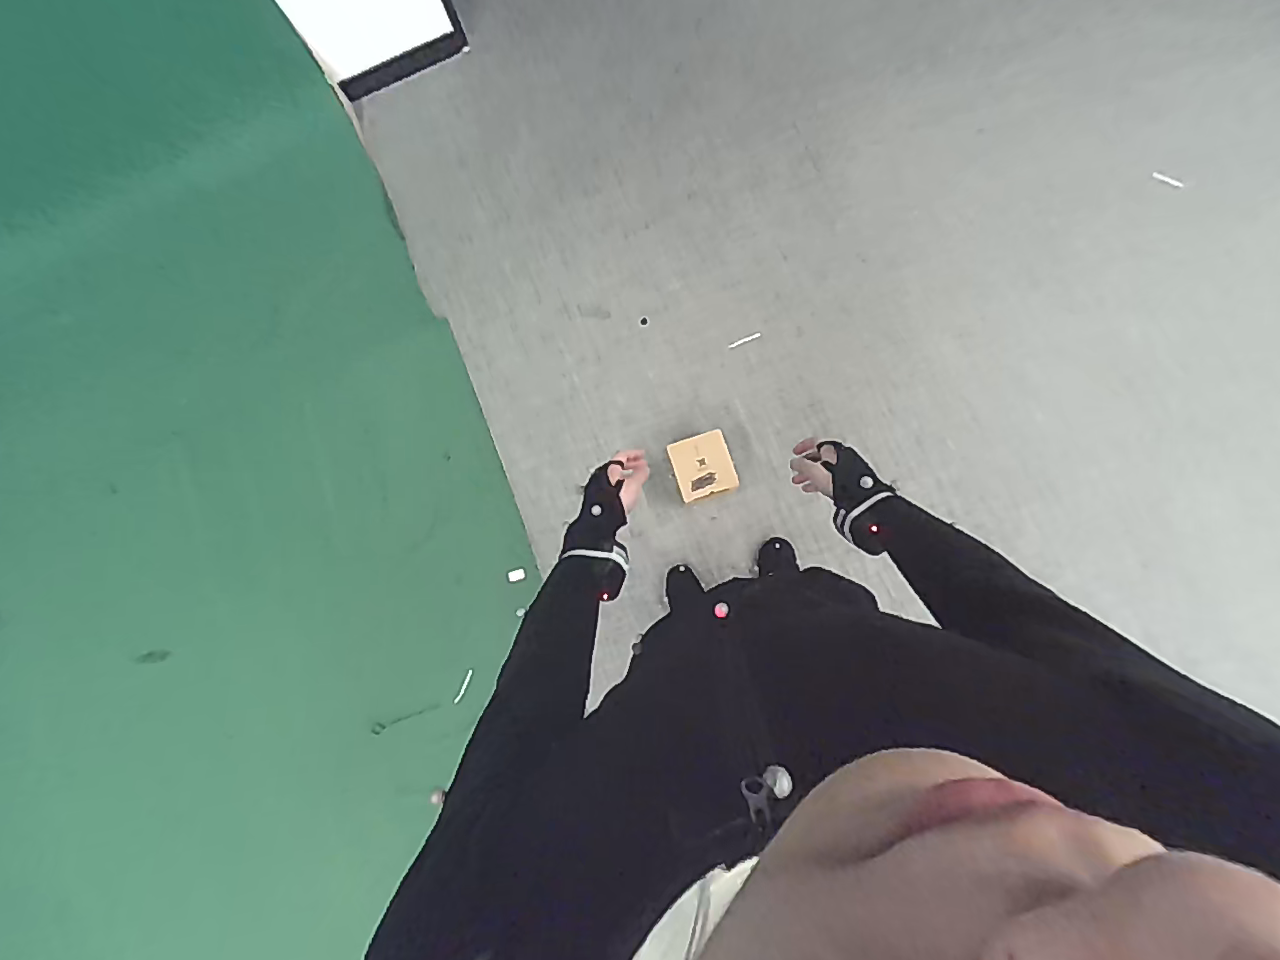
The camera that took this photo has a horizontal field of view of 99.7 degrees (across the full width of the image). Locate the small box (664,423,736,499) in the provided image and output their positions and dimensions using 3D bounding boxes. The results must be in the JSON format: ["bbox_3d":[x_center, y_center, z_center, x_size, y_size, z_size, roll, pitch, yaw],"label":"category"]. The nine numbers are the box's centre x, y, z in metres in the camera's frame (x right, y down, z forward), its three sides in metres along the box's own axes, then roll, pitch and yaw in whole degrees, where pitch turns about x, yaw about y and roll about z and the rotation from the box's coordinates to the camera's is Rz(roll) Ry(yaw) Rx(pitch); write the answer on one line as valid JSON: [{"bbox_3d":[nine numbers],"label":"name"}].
[{"bbox_3d":[0.176,-0.049,1.596,0.168,0.176,0.179,-18,81,1],"label":"small box"}]
